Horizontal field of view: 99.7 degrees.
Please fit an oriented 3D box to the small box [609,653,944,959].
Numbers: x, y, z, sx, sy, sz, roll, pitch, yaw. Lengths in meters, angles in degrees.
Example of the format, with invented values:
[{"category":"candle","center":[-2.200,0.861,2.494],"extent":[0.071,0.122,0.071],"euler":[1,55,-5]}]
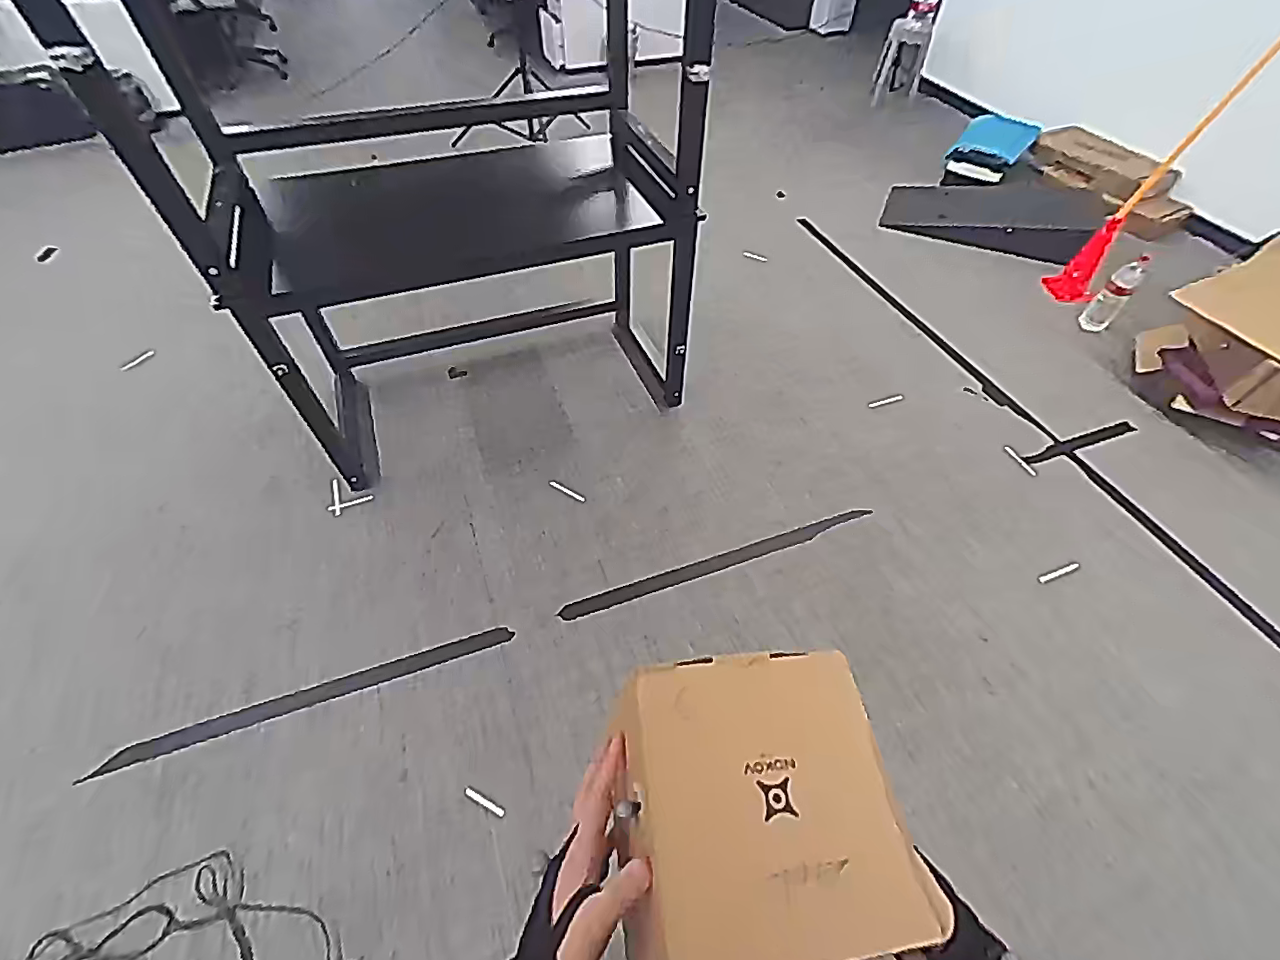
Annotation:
[{"category":"small box","center":[0.073,0.247,0.406],"extent":[0.168,0.176,0.179],"euler":[0,55,-12]}]
